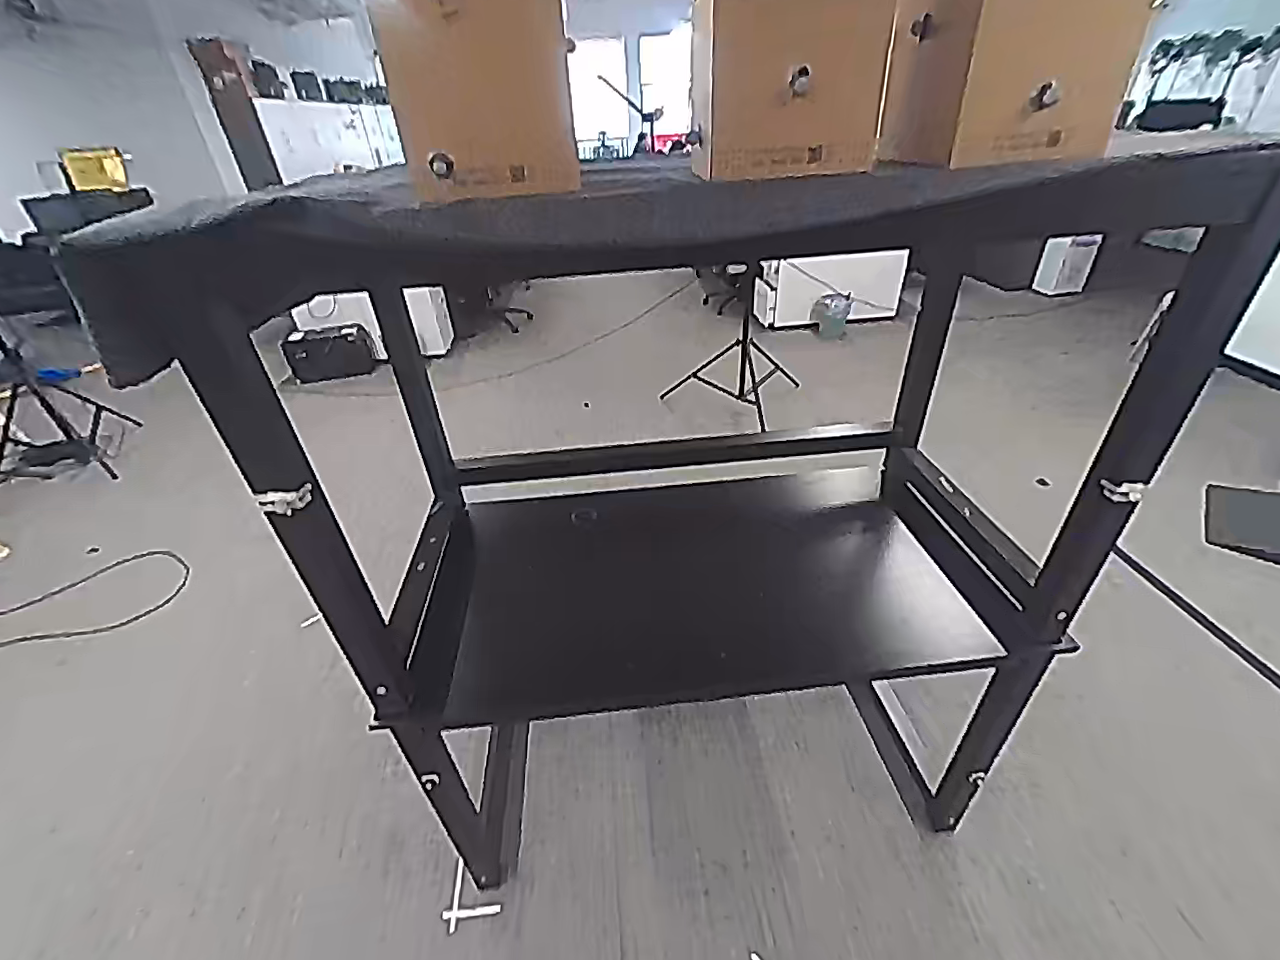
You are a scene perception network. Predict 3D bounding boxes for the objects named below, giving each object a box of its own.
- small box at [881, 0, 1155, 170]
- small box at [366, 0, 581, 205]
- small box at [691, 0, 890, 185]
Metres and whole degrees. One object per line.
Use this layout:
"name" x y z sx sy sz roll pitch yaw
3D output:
"small box" 0.382 -0.436 0.580 0.168 0.176 0.179 -6 33 -1
"small box" -0.156 -0.392 0.569 0.168 0.176 0.179 -8 32 -6
"small box" 0.145 -0.415 0.575 0.168 0.176 0.179 -3 33 0
